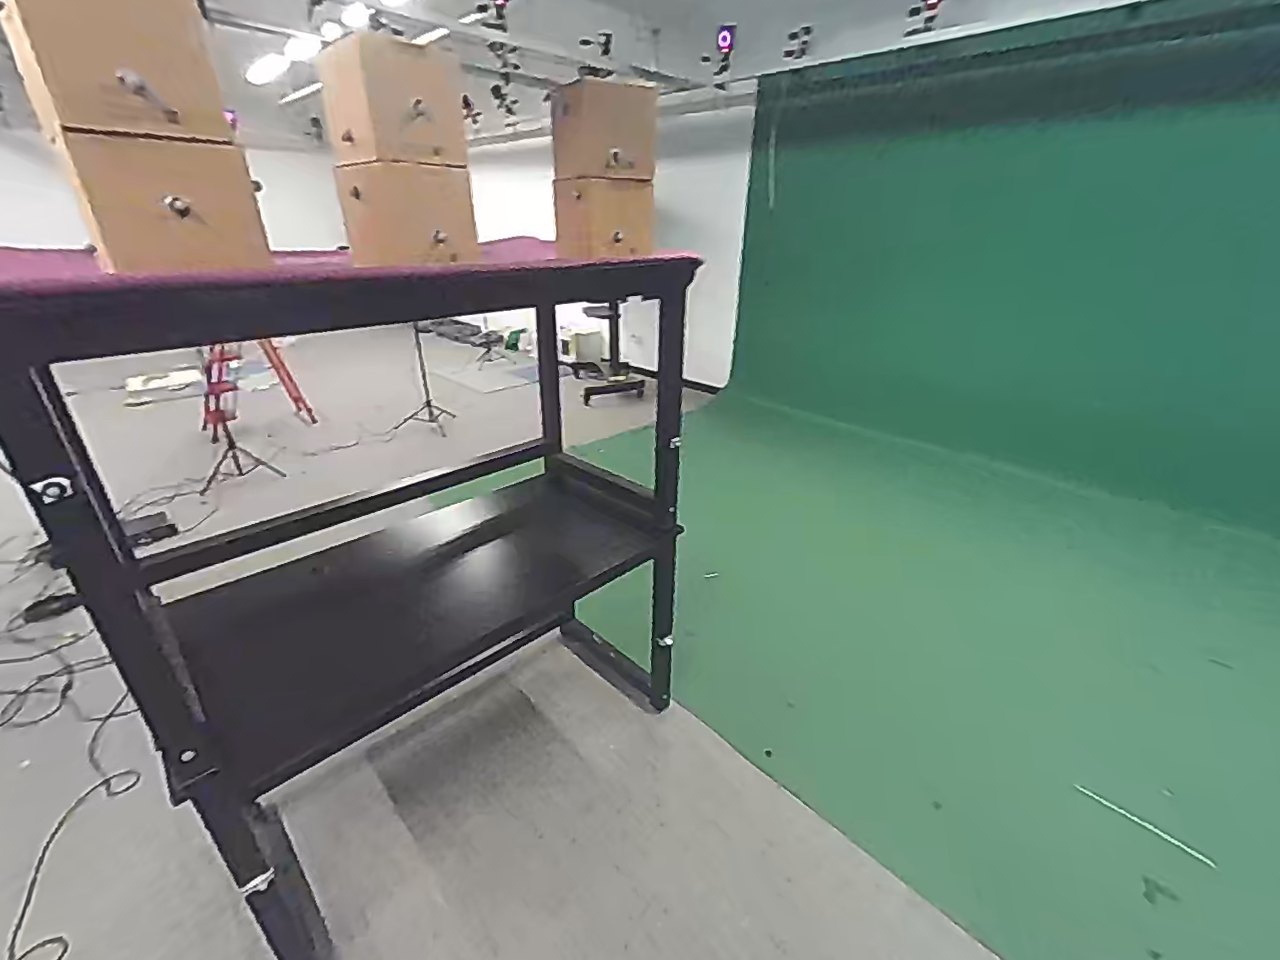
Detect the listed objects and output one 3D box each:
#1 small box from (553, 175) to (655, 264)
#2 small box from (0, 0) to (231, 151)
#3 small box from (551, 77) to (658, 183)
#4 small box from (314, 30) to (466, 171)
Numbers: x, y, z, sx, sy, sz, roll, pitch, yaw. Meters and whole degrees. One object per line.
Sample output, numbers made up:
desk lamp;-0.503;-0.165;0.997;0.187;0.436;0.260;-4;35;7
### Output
small box;-0.084;-0.581;1.214;0.168;0.176;0.179;-16;32;-30
small box;-0.633;-0.503;0.651;0.179;0.176;0.168;21;33;37
small box;-0.077;-0.724;1.136;0.168;0.176;0.179;-15;33;-27
small box;-0.416;-0.625;0.915;0.179;0.176;0.168;23;33;38
